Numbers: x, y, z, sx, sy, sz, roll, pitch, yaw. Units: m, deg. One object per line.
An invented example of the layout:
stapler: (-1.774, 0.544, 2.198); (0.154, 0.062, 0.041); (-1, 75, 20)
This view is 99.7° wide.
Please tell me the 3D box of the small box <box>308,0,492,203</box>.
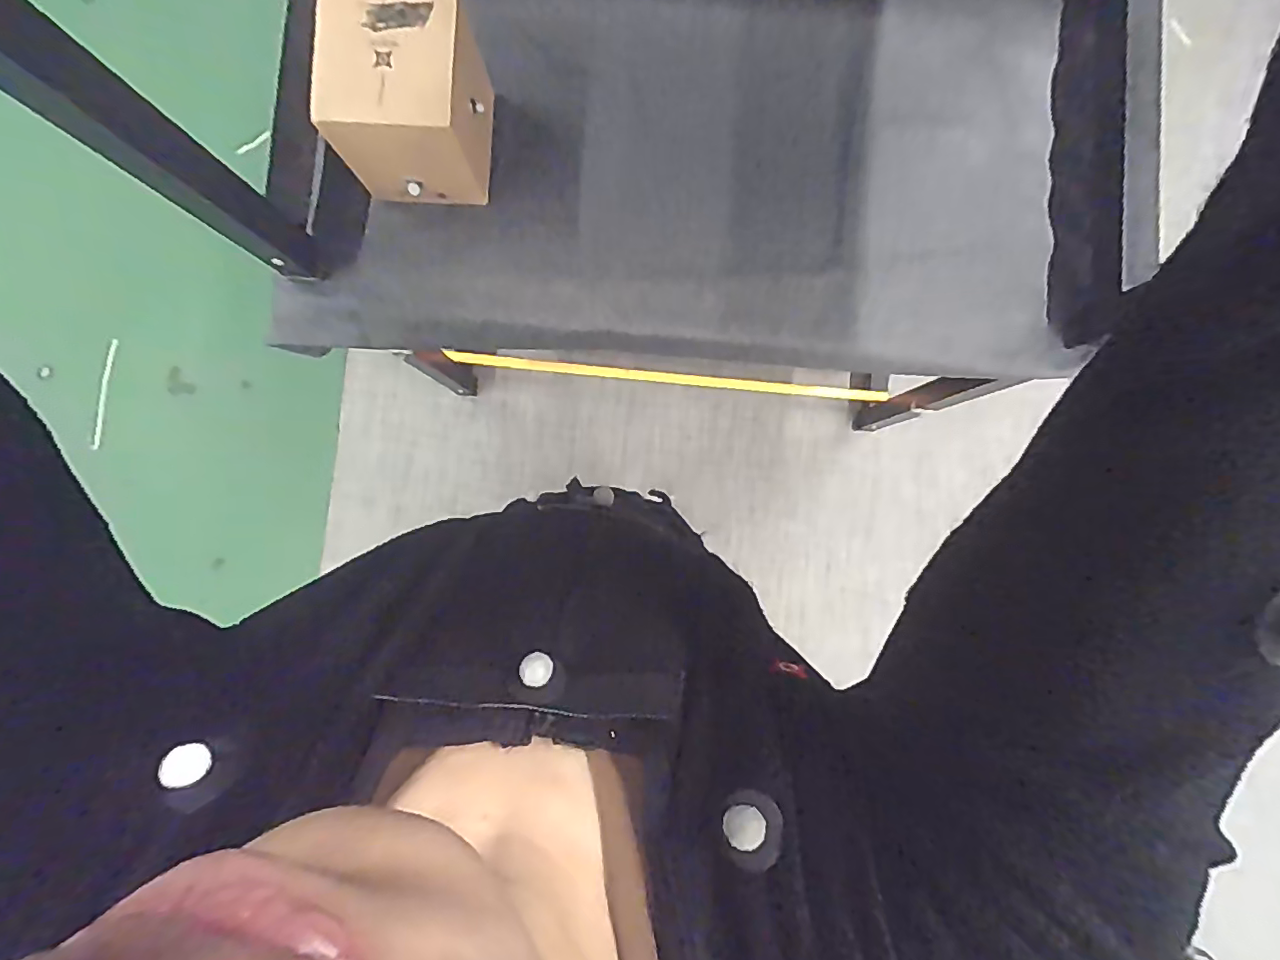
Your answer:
small box: (-0.300, -0.498, 0.710); (0.168, 0.176, 0.179); (2, 88, 0)
